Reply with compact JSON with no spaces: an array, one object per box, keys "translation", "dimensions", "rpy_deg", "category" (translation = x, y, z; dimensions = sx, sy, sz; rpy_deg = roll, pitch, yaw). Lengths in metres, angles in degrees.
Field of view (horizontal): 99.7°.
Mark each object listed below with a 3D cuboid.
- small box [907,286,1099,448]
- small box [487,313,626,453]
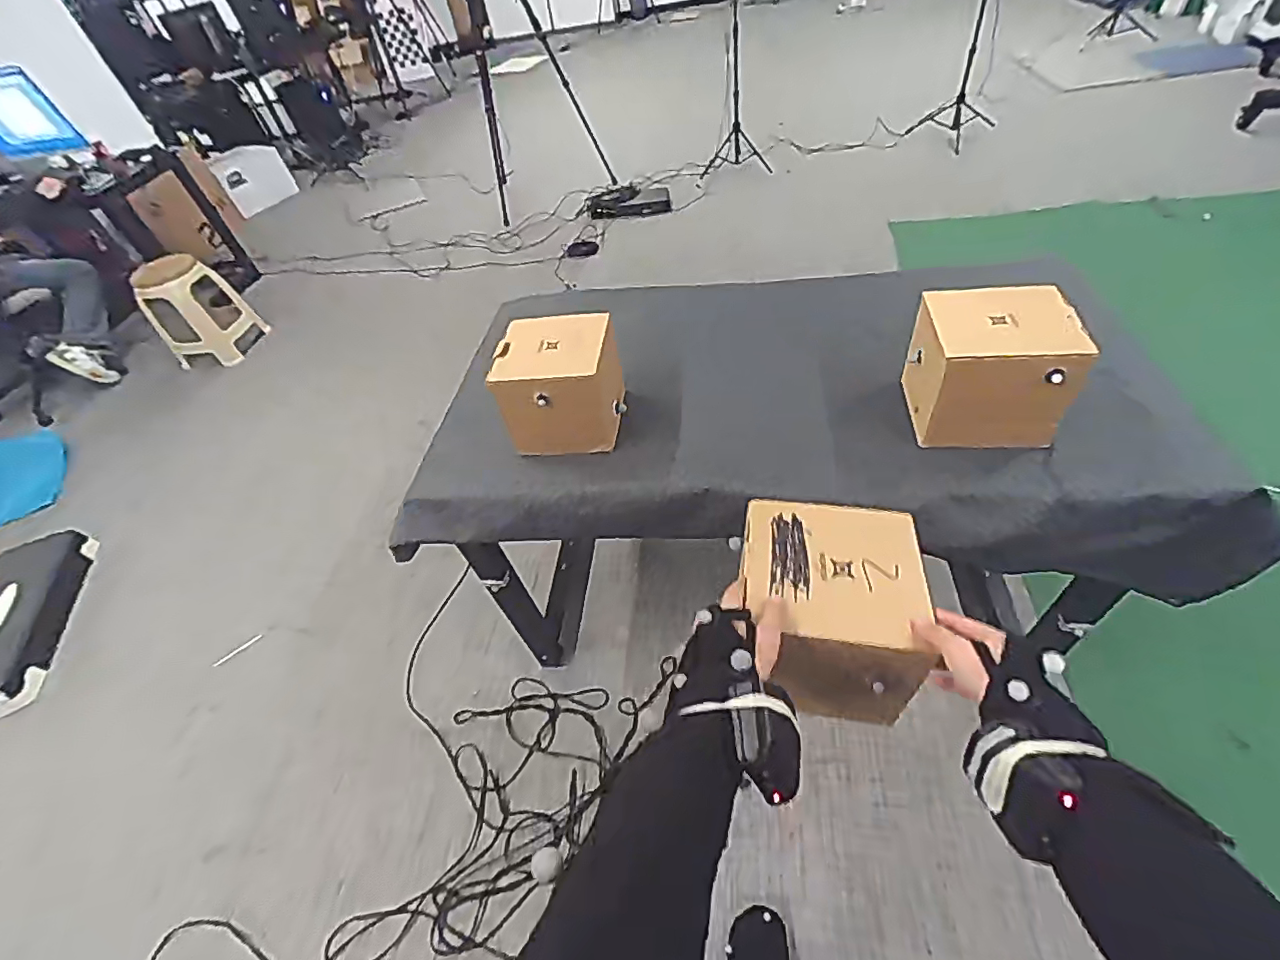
[{"translation":[0.502,-0.160,0.787],"dimensions":[0.179,0.176,0.168],"rpy_deg":[1,48,12],"category":"small box"},{"translation":[-0.128,-0.158,0.910],"dimensions":[0.179,0.176,0.168],"rpy_deg":[-1,50,9],"category":"small box"}]
